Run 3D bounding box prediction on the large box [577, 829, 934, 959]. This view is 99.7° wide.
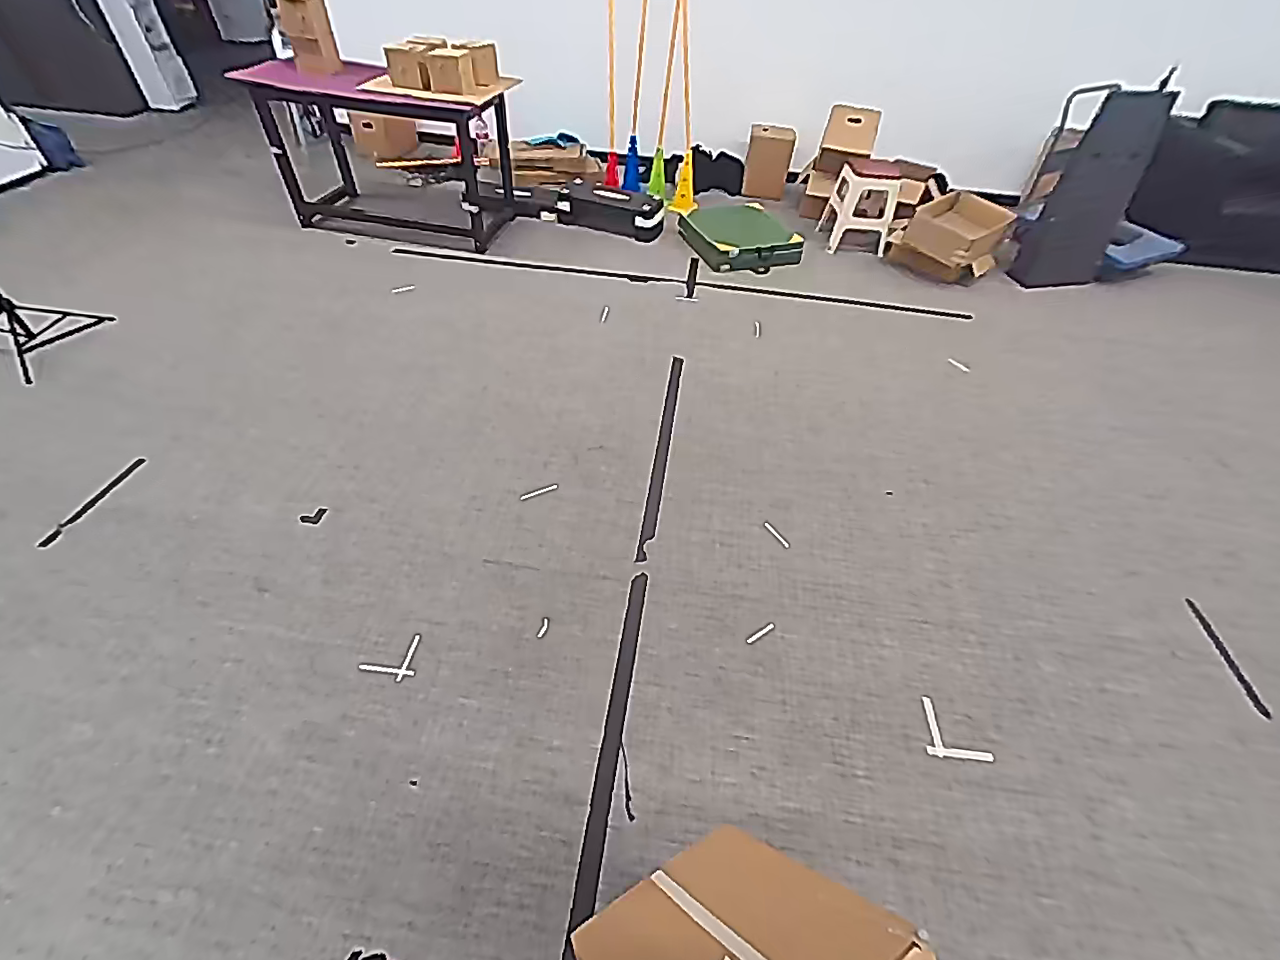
[{"bbox_3d":[0.161,0.743,0.693,0.320,0.408,0.320,-17,84,-27],"label":"large box"}]
